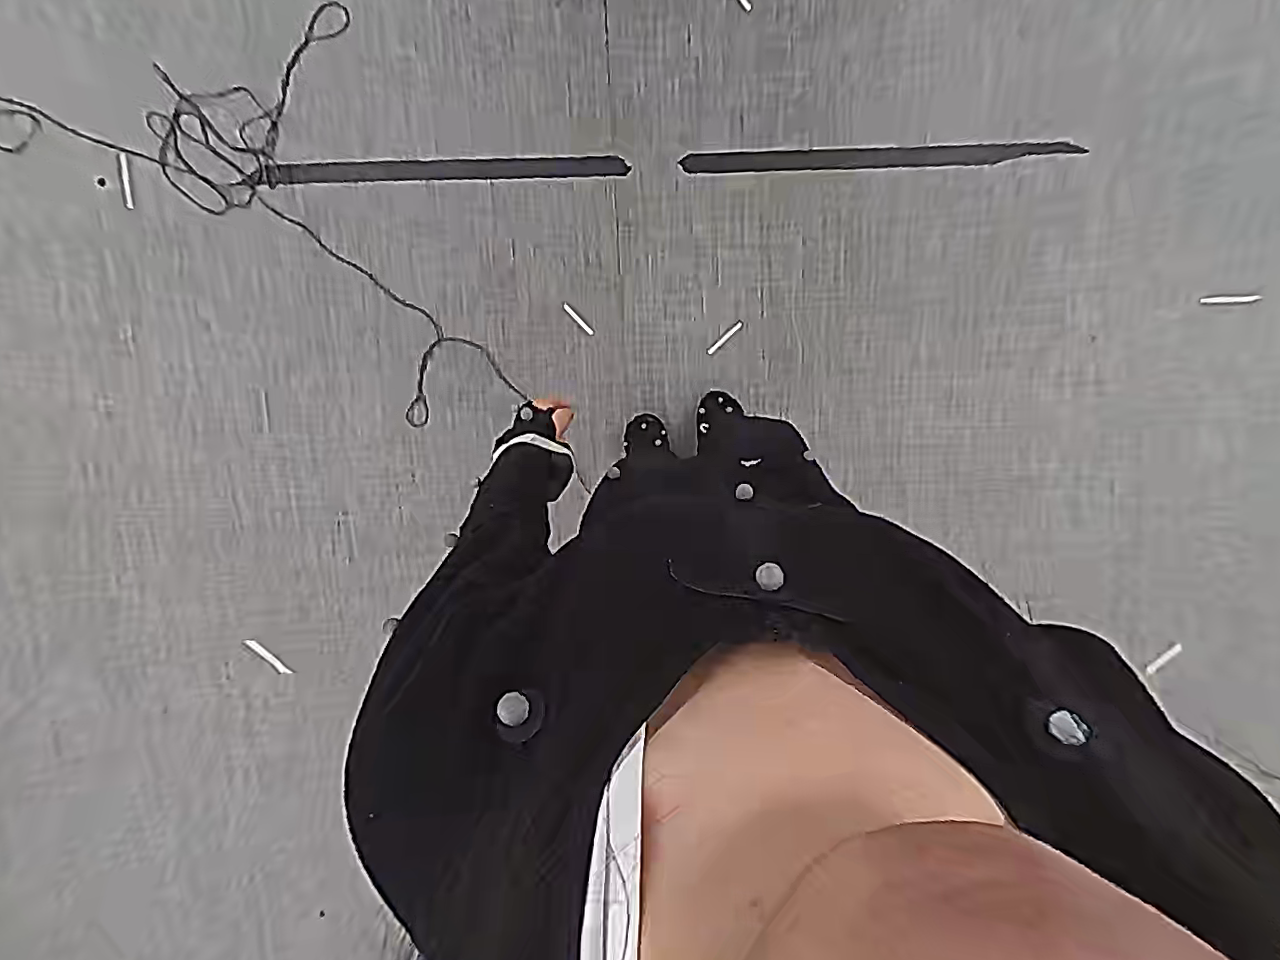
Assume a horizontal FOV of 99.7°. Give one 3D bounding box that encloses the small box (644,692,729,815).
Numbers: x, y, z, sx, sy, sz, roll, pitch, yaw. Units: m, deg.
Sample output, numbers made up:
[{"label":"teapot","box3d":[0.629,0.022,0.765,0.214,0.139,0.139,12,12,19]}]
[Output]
[{"label":"small box","box3d":[0.097,0.594,1.190,0.168,0.176,0.179,-6,96,0]}]
